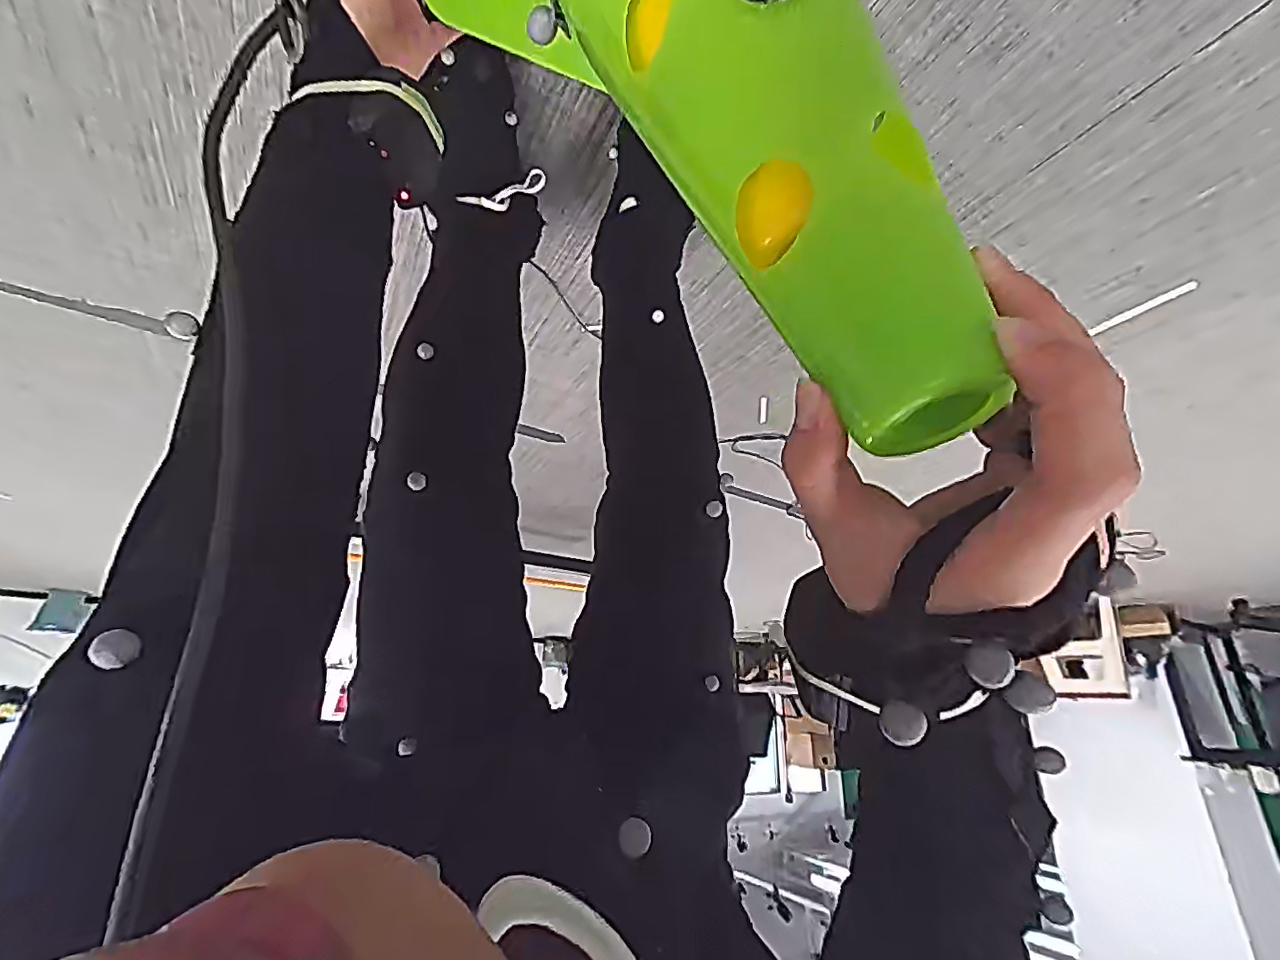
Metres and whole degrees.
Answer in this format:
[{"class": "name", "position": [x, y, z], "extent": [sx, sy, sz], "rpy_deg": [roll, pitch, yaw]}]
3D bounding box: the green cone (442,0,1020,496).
[{"class": "green cone", "position": [0.040, -0.165, 0.213], "extent": [0.200, 0.368, 0.202], "rpy_deg": [2, 150, -28]}]
